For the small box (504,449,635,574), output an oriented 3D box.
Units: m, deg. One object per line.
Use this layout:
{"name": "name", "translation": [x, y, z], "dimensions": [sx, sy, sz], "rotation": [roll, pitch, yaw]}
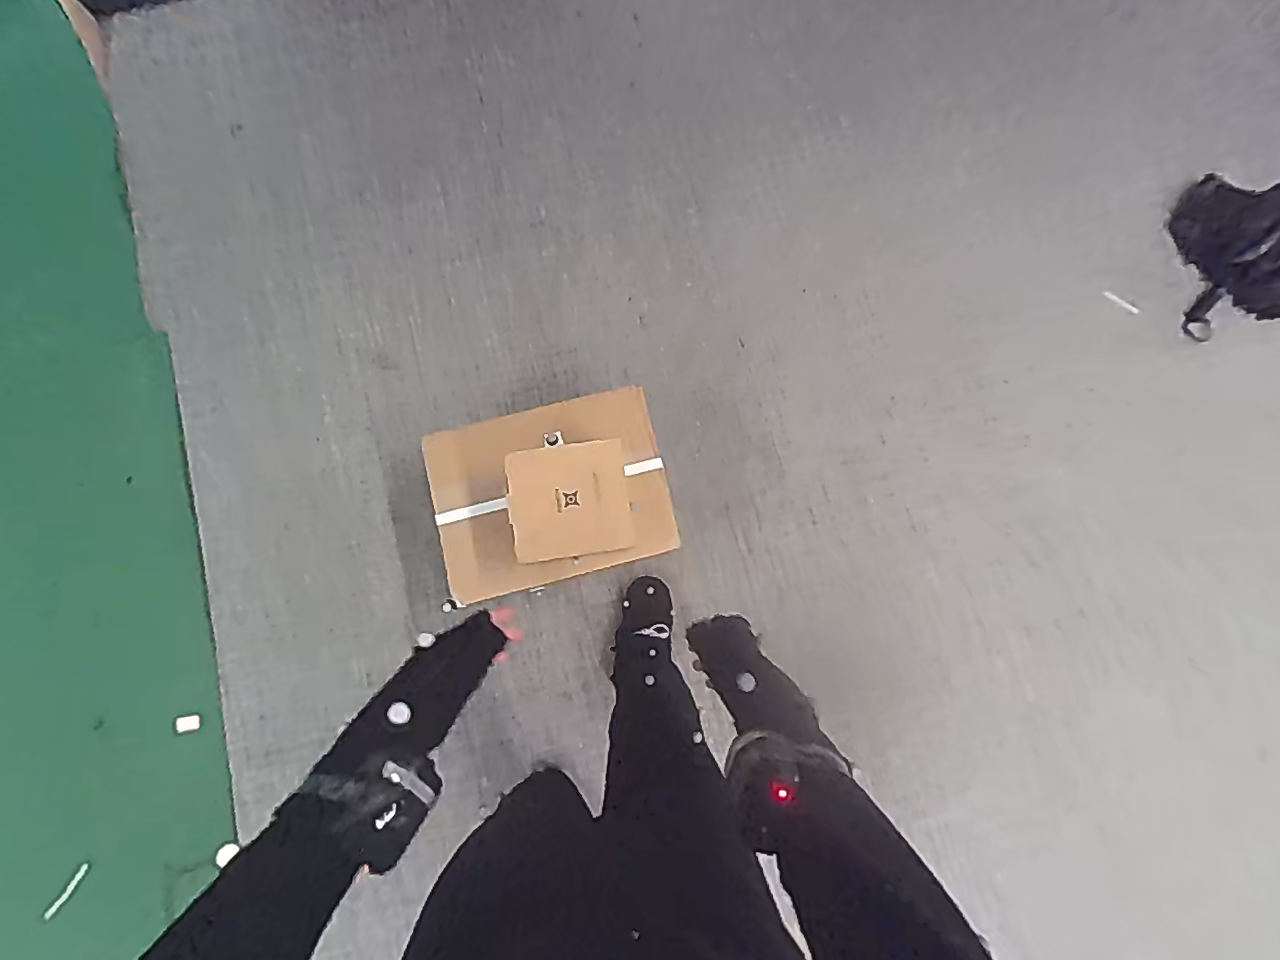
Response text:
{"name": "small box", "translation": [-0.106, 0.057, 0.864], "dimensions": [0.179, 0.176, 0.168], "rotation": [-9, 83, -4]}
